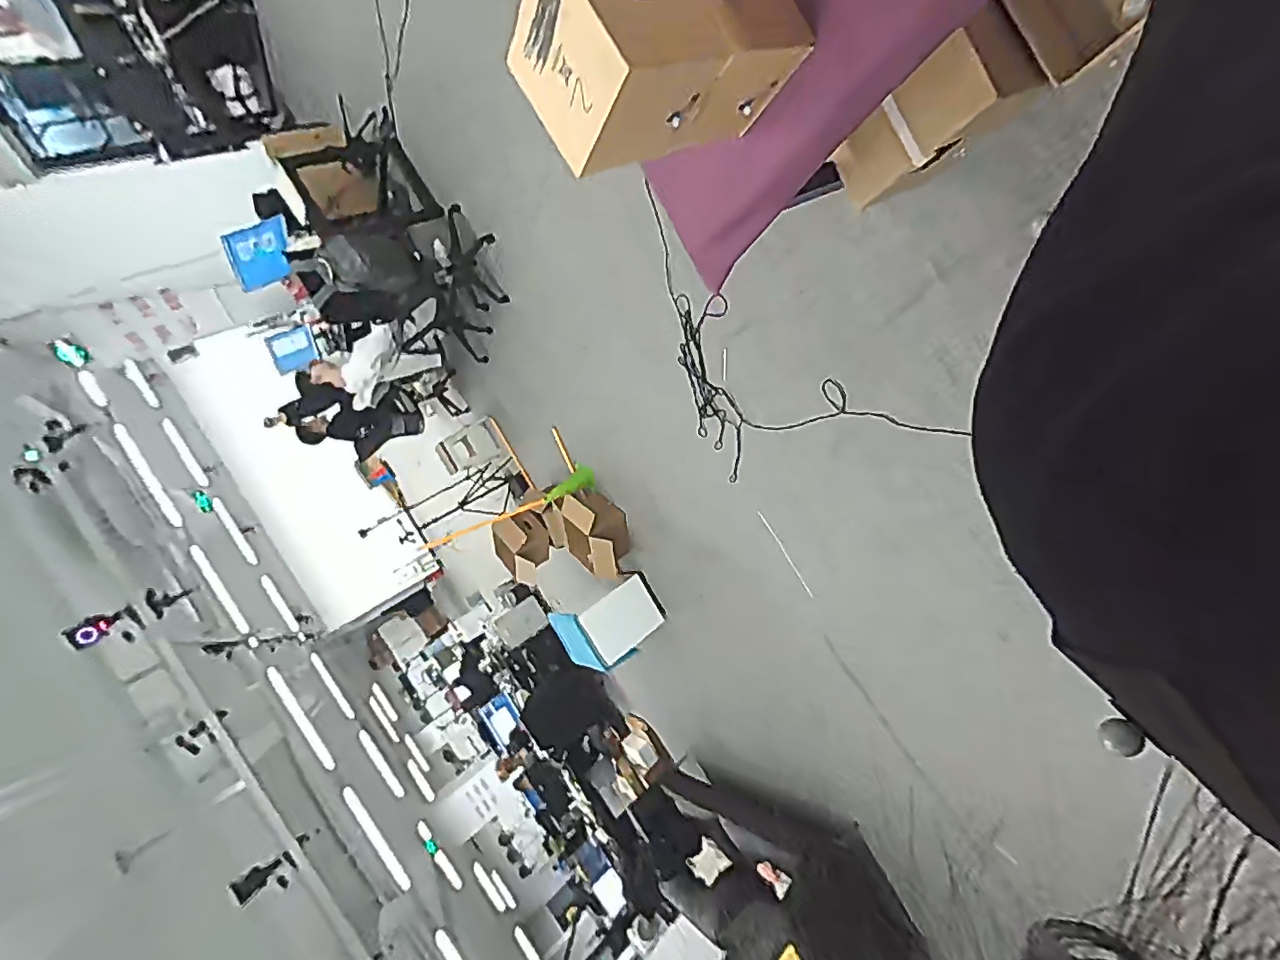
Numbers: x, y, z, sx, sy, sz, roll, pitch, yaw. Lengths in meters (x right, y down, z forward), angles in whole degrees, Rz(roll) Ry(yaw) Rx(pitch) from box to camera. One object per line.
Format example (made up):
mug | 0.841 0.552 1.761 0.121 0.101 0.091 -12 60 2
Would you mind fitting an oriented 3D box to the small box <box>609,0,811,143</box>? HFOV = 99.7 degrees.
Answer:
small box | 0.094 -0.607 0.739 0.179 0.176 0.168 59 152 -3
